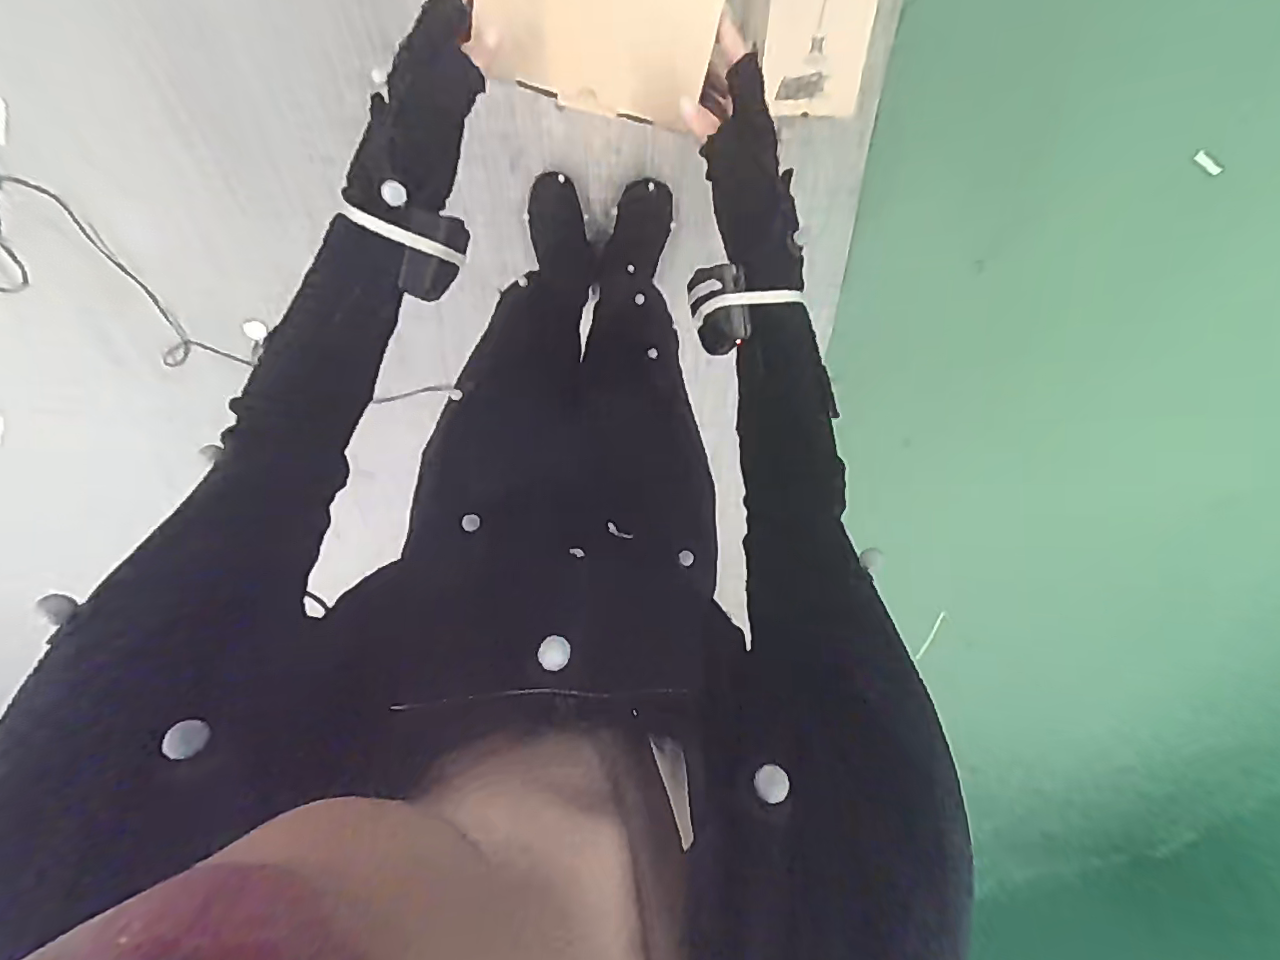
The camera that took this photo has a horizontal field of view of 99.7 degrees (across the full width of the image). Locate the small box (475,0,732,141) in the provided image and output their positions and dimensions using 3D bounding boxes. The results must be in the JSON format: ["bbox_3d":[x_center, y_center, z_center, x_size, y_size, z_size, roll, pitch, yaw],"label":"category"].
[{"bbox_3d":[-0.029,-0.385,0.405,0.168,0.176,0.179,5,128,-16],"label":"small box"}]

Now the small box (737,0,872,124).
[{"bbox_3d":[0.265,-0.720,0.917,0.168,0.176,0.179,0,128,-2],"label":"small box"}]
